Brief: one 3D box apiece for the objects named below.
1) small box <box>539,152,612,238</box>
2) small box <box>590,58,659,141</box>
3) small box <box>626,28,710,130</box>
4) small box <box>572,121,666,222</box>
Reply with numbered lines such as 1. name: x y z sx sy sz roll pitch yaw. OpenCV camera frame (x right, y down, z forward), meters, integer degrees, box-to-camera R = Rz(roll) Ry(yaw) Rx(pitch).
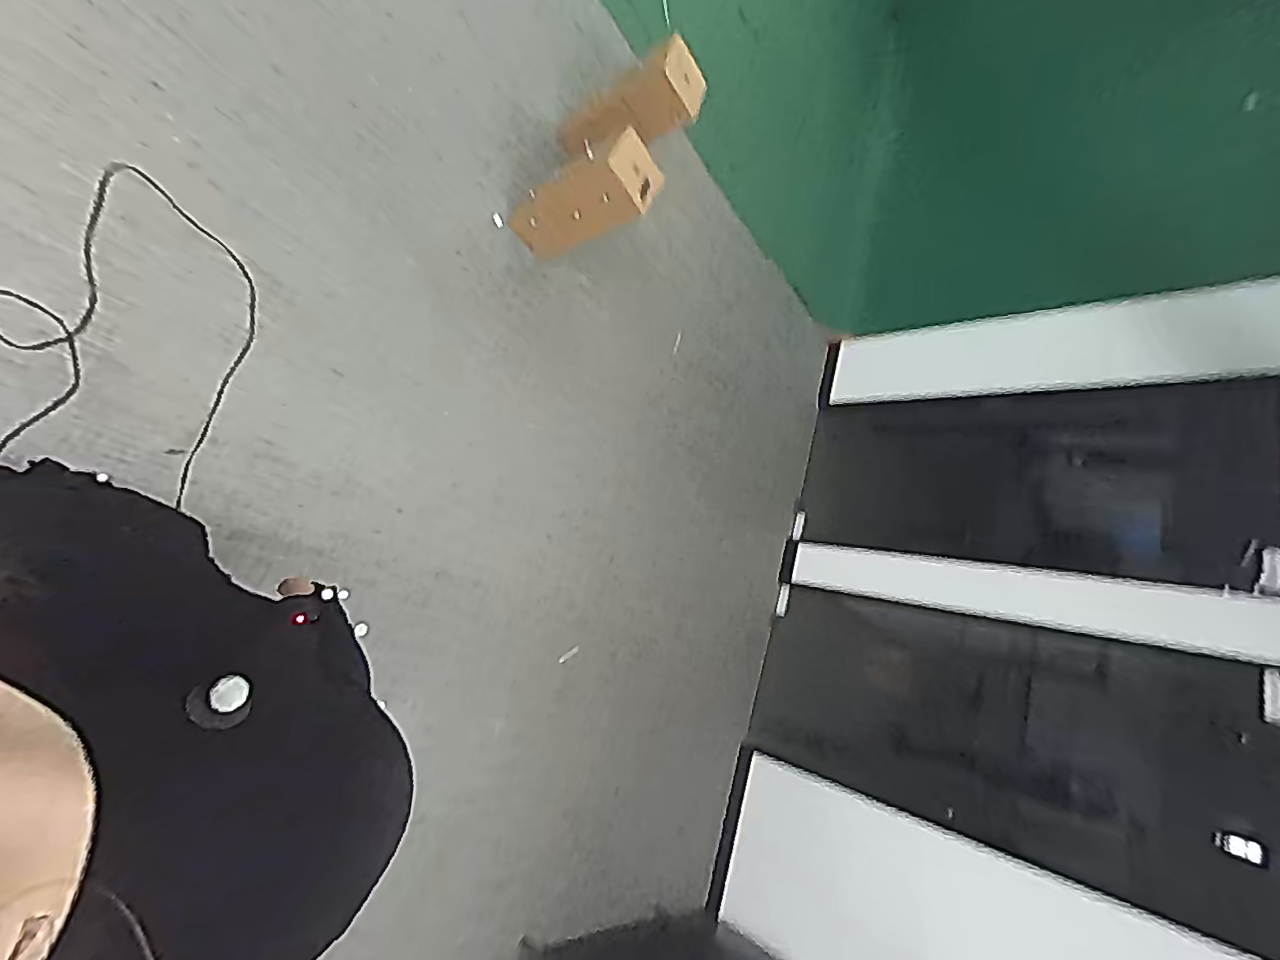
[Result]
1. small box: -0.176 -0.874 1.668 0.179 0.176 0.168 42 62 -40
2. small box: -0.033 -1.244 1.803 0.179 0.176 0.168 34 67 -42
3. small box: 0.087 -1.237 1.689 0.179 0.176 0.168 35 66 -44
4. small box: -0.060 -0.872 1.551 0.179 0.176 0.168 44 61 -38
